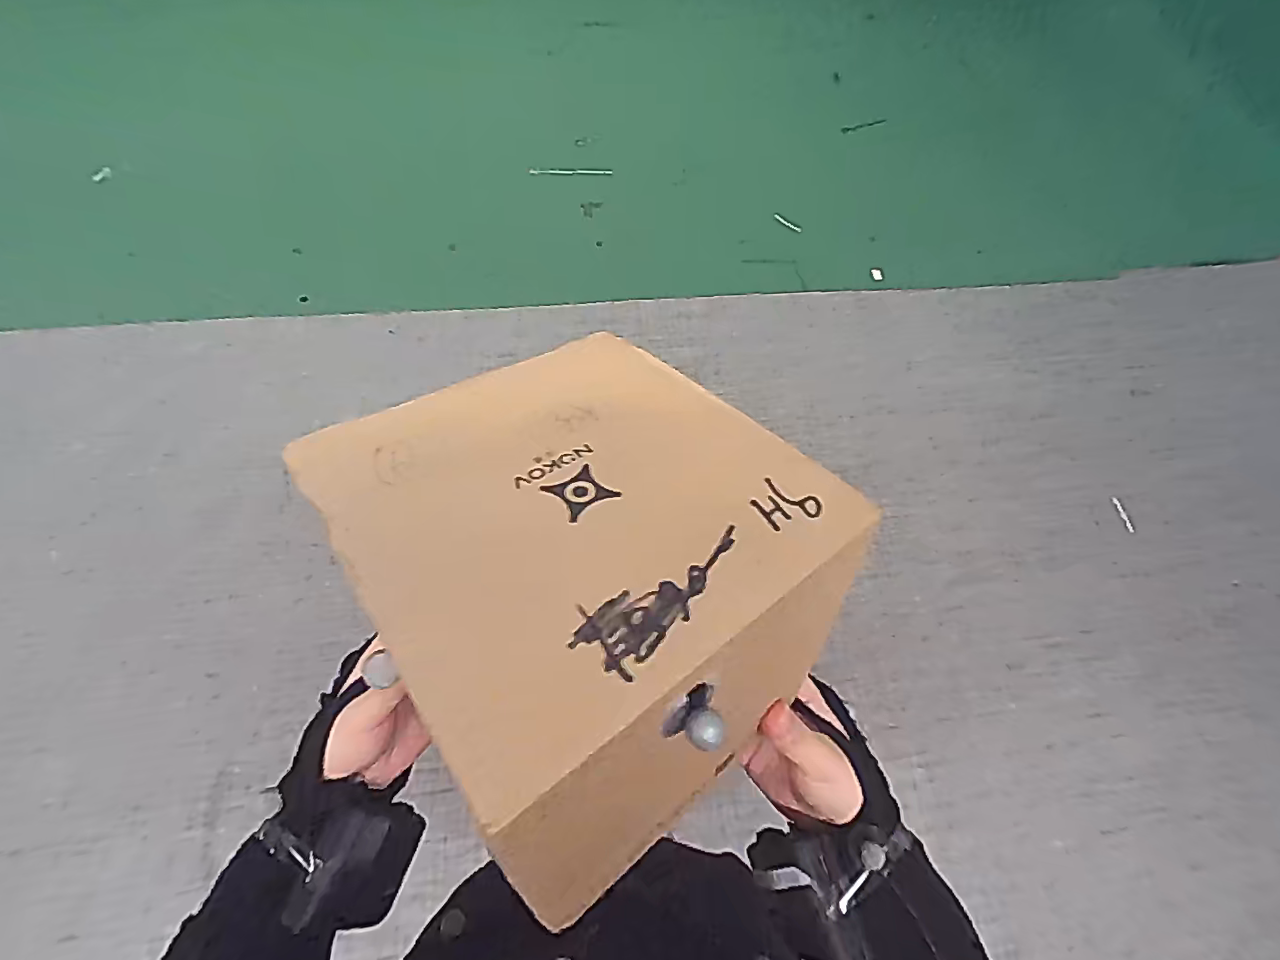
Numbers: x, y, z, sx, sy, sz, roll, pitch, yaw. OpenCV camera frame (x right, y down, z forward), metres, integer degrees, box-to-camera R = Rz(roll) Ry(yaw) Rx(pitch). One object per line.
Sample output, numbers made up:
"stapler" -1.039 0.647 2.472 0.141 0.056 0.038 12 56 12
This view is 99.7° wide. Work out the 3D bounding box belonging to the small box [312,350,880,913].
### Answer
"small box" -0.024 0.065 0.272 0.168 0.176 0.179 -30 51 -28
